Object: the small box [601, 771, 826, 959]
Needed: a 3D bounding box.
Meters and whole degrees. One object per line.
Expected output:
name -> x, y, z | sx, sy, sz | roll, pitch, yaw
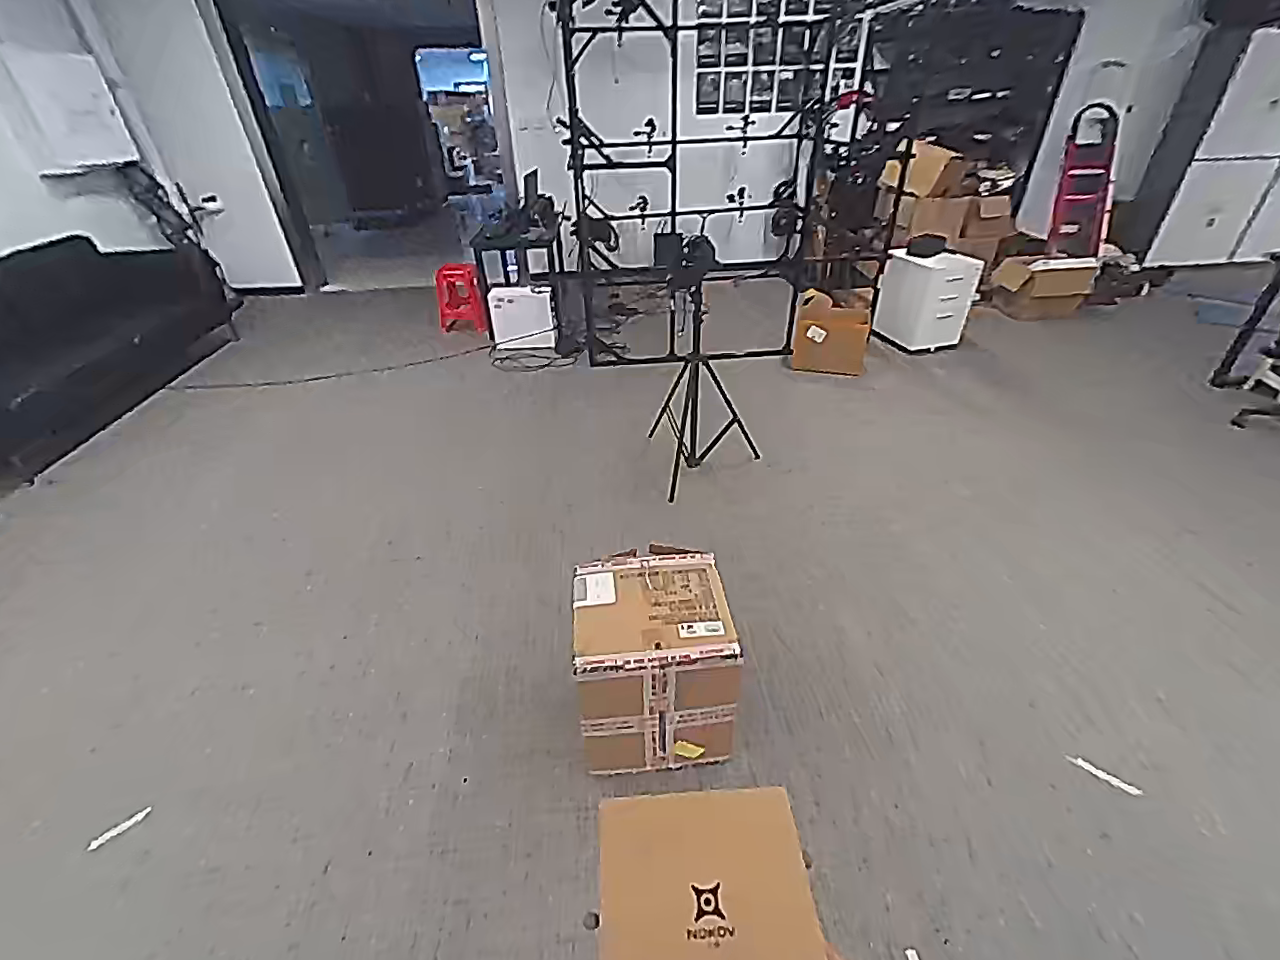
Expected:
small box -> 0.051, 0.384, 0.472 | 0.168, 0.176, 0.179 | -3, 40, -2
